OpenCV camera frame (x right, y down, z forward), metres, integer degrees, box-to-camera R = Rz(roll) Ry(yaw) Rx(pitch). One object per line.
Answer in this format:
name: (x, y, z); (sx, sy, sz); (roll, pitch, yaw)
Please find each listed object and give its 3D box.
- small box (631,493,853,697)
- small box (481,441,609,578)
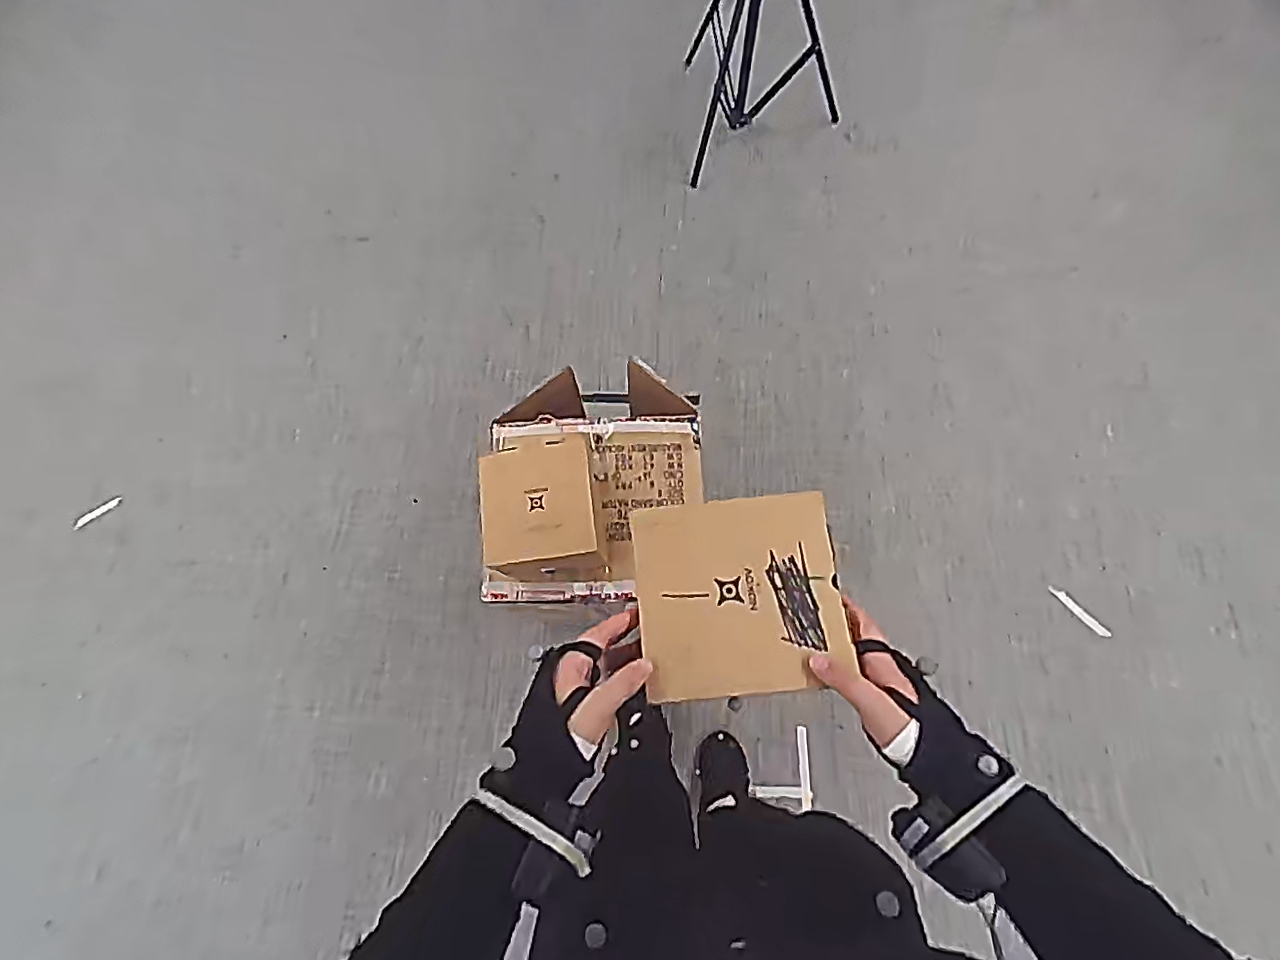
small box: (0.086, 0.120, 0.544); (0.179, 0.176, 0.168); (-6, 70, 1)
small box: (-0.147, 0.055, 0.871); (0.168, 0.176, 0.179); (-9, 75, 0)
